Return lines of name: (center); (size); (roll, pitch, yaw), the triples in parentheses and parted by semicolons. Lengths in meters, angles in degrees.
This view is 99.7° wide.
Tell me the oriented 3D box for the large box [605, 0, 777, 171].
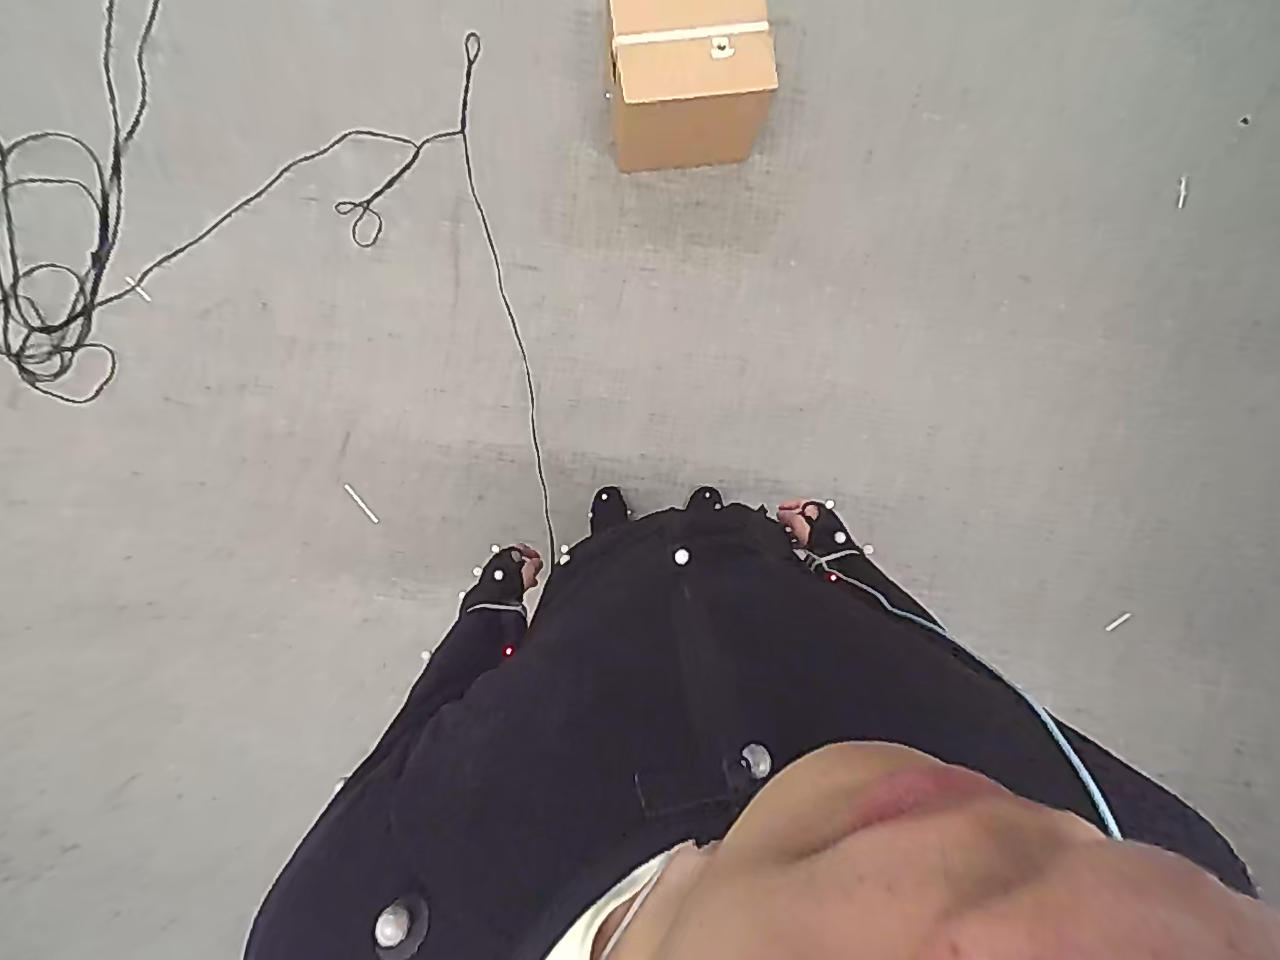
large box: (0.124, -1.124, 1.520); (0.408, 0.320, 0.320); (-8, 90, -4)
